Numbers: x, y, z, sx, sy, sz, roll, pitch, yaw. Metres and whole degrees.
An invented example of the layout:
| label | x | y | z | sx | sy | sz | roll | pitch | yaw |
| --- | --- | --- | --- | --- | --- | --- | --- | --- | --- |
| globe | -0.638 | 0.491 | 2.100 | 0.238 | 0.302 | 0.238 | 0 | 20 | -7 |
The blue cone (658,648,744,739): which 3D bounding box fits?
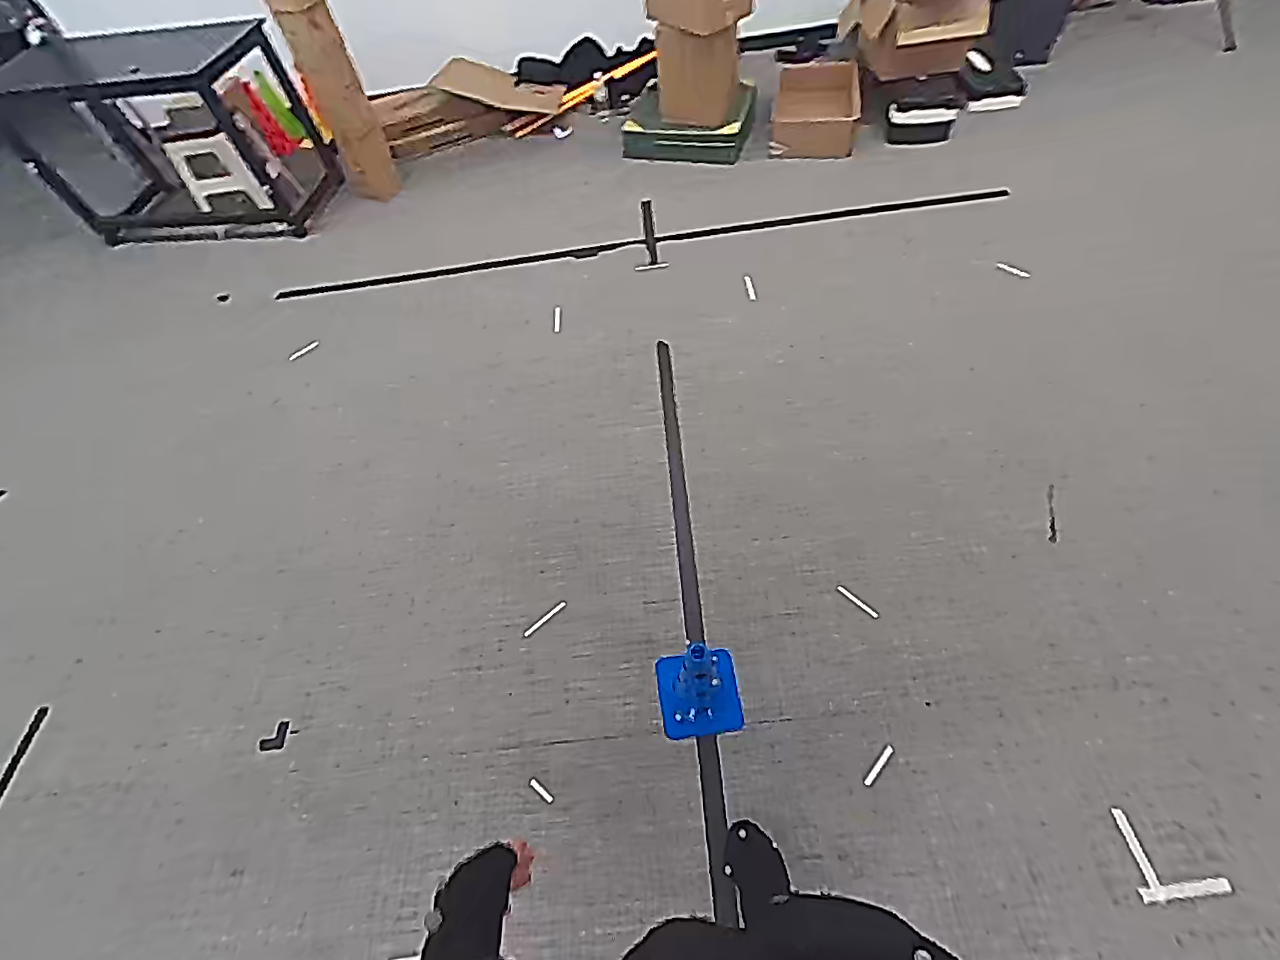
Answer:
| label | x | y | z | sx | sy | sz | roll | pitch | yaw |
| --- | --- | --- | --- | --- | --- | --- | --- | --- | --- |
| blue cone | 0.139 | 0.441 | 1.209 | 0.192 | 0.380 | 0.193 | -11 | 57 | -1 |
